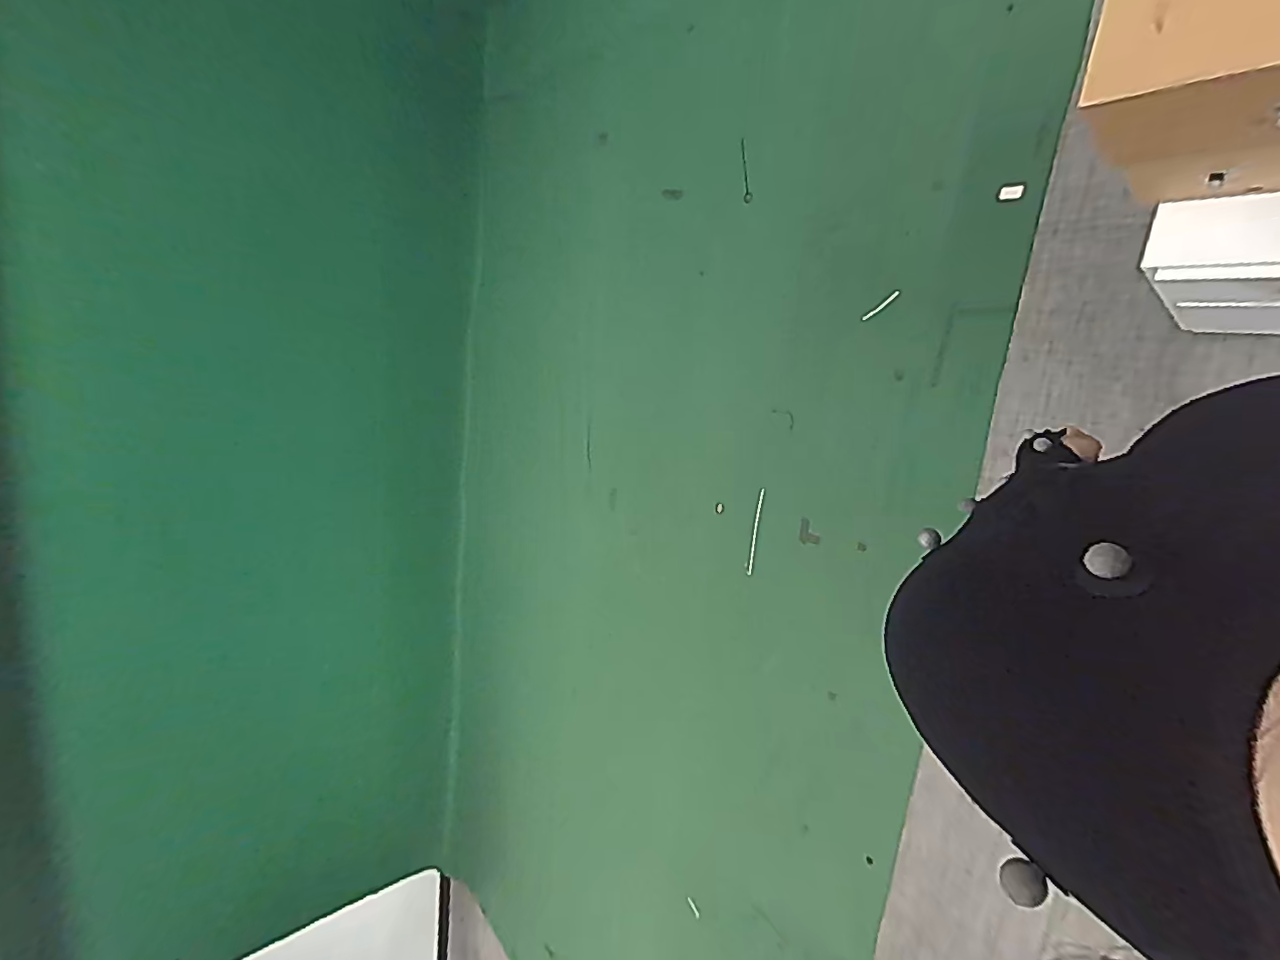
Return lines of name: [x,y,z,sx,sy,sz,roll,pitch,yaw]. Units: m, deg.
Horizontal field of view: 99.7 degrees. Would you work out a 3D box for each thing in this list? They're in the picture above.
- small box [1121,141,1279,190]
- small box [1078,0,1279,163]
small box: [0.642,-0.422,0.565,0.168,0.176,0.179,20,107,45]
small box: [0.519,-0.399,0.461,0.179,0.176,0.168,19,106,47]
